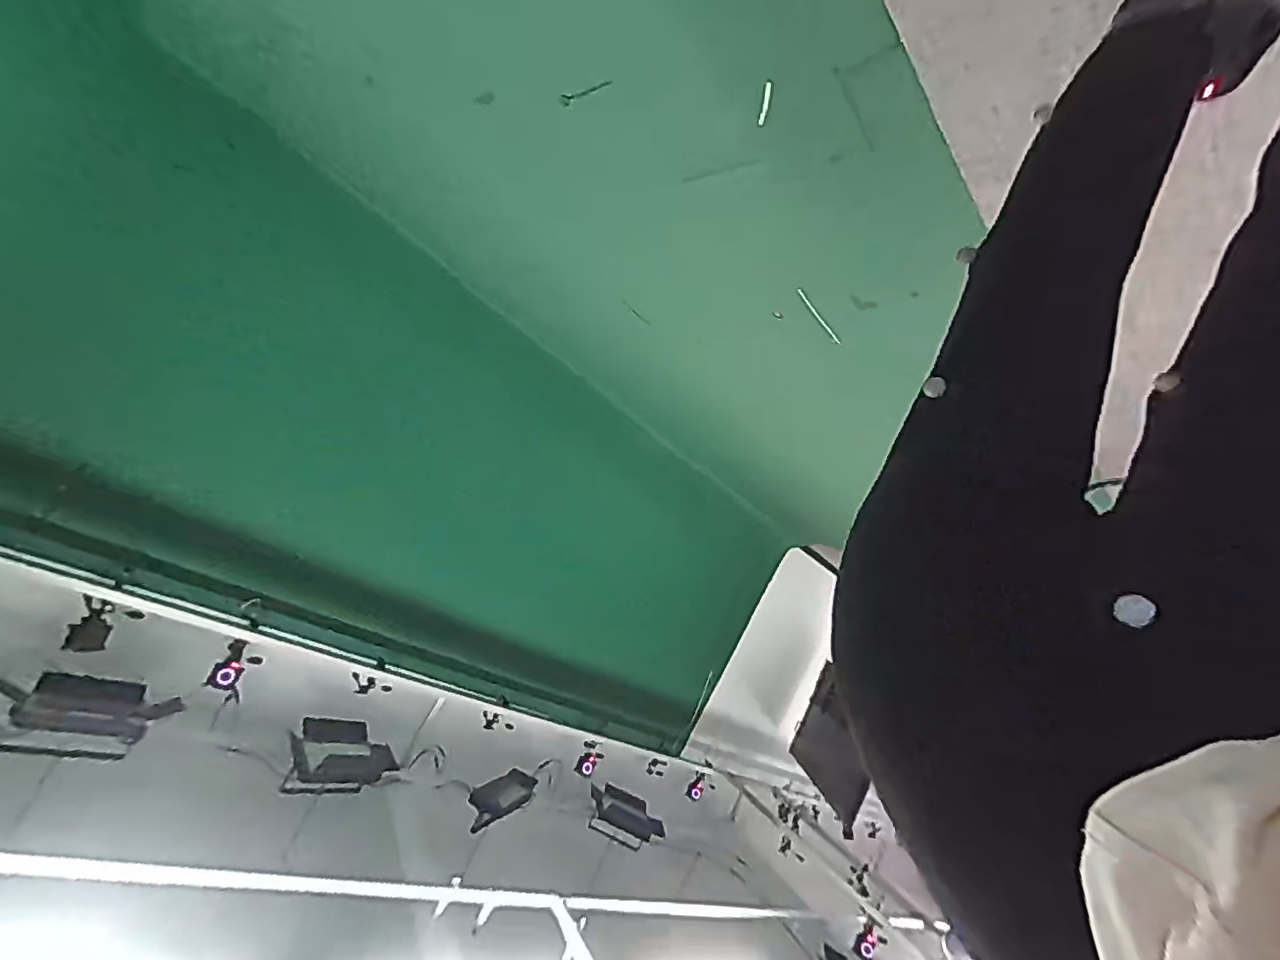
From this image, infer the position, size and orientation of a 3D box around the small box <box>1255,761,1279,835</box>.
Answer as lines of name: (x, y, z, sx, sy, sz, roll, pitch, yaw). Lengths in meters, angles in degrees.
small box: (1.774, 0.877, 1.423, 0.179, 0.176, 0.168, 35, 170, -33)
